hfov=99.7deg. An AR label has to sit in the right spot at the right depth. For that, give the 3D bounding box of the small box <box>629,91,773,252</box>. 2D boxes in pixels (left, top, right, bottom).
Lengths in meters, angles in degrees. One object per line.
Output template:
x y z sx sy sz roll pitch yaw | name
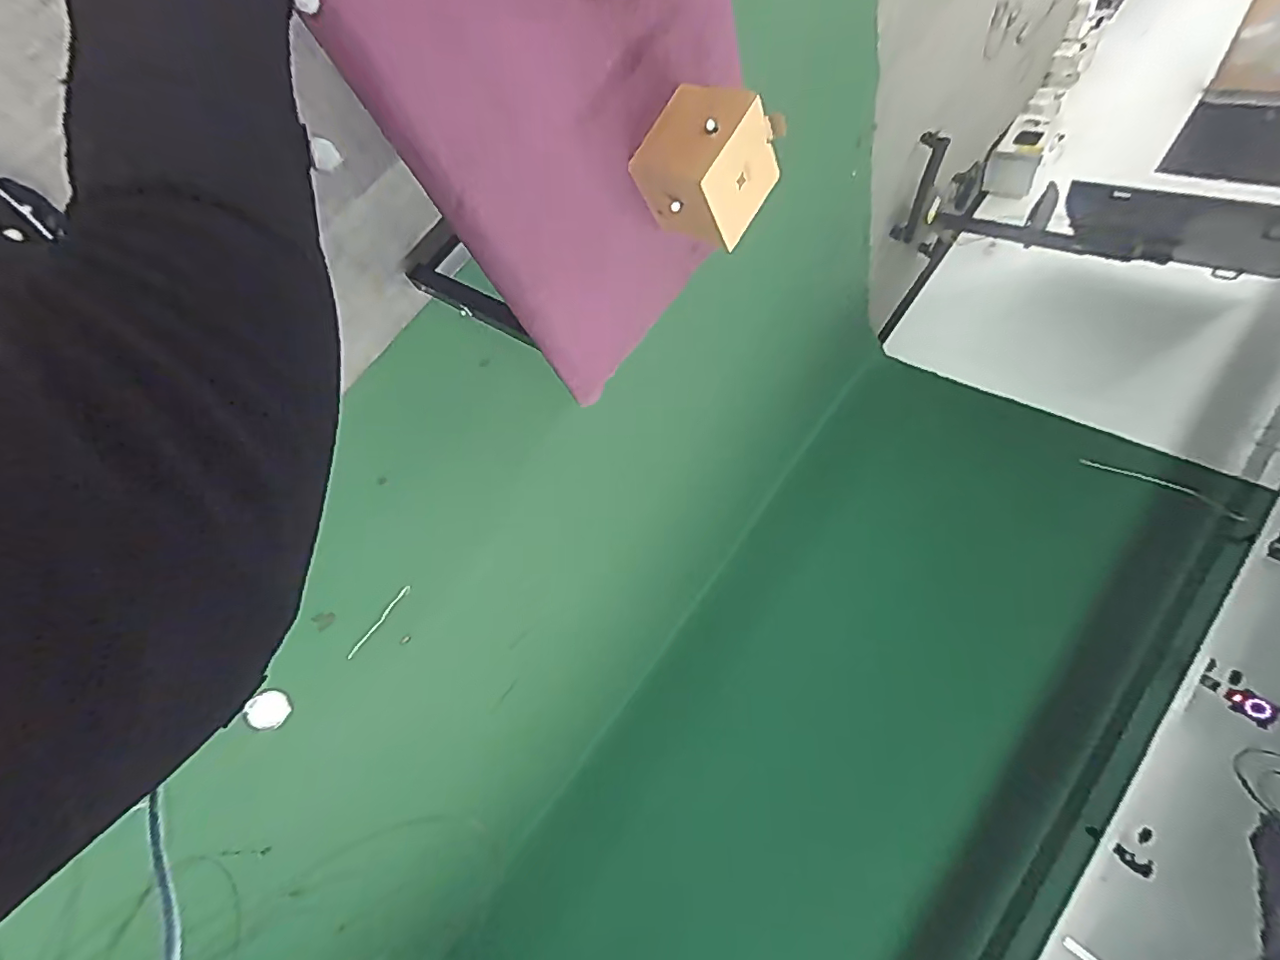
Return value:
0.103 -0.543 0.954 0.179 0.176 0.168 -57 149 -2 | small box
